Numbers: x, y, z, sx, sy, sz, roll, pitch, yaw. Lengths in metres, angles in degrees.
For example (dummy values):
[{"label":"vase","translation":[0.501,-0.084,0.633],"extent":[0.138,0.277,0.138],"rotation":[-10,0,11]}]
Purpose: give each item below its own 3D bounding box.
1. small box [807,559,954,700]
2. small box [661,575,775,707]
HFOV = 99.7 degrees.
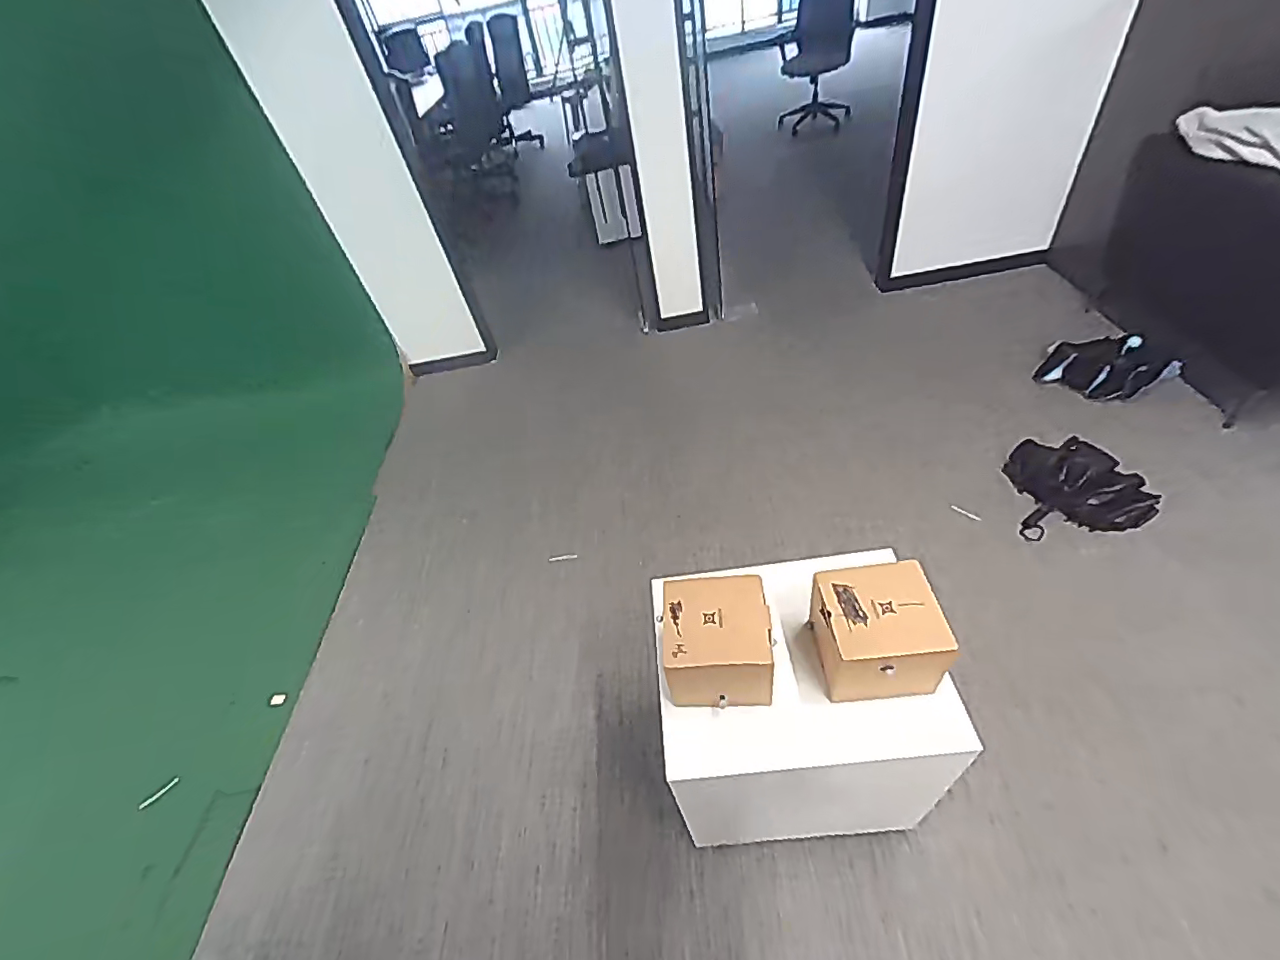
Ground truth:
[{"label":"small box","translation":[0.391,0.258,0.919],"extent":[0.179,0.176,0.168],"rotation":[-7,45,3]},{"label":"small box","translation":[0.127,0.282,0.941],"extent":[0.179,0.176,0.168],"rotation":[-3,45,4]}]
